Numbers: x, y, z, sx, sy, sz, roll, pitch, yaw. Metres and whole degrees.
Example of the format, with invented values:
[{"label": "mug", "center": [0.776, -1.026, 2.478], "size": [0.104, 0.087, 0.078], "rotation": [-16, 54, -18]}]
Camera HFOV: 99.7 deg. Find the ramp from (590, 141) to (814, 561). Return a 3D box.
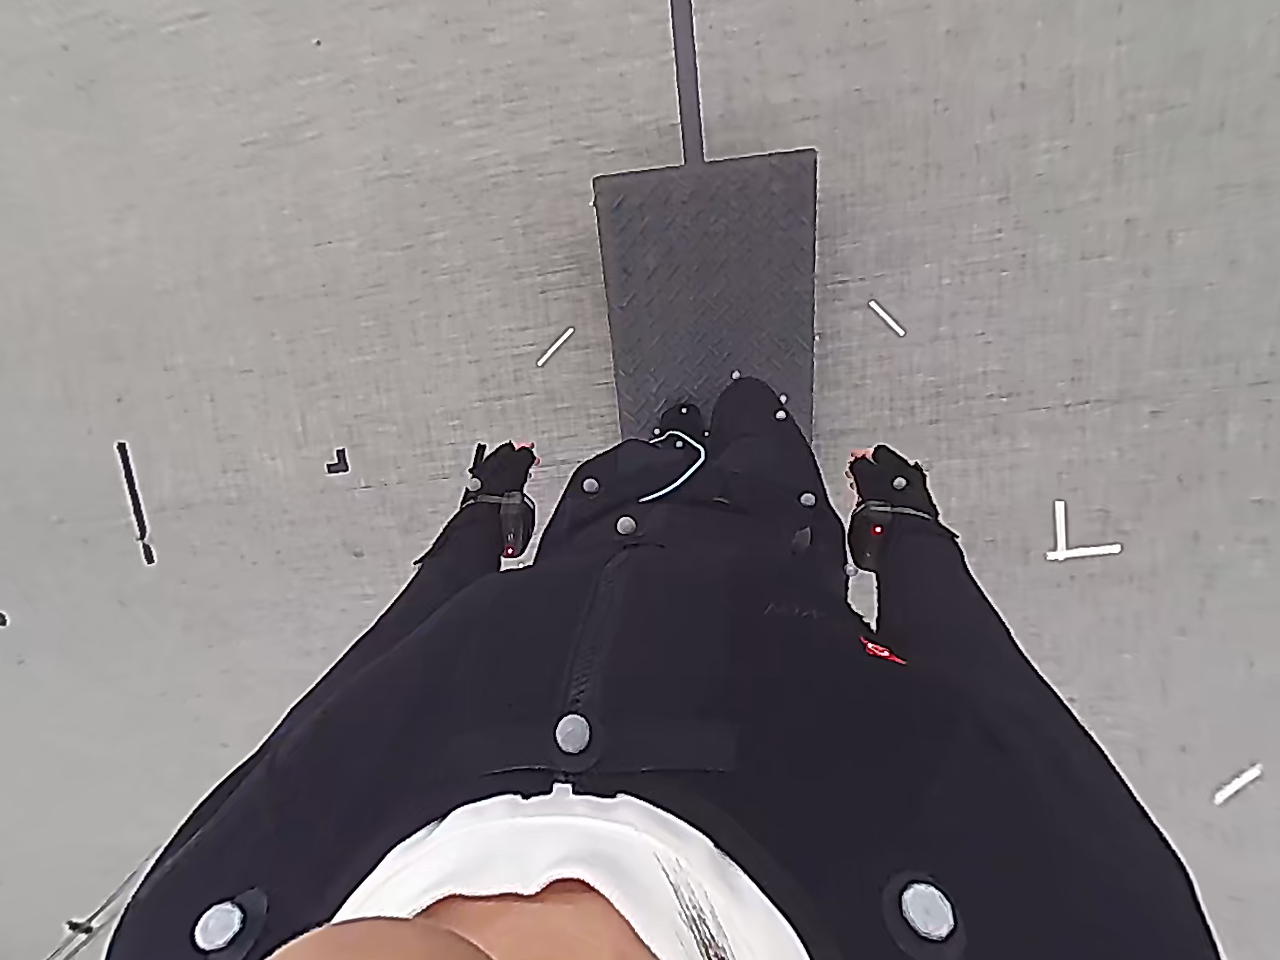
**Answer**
[{"label": "ramp", "center": [0.181, -0.243, 1.352], "size": [0.509, 0.206, 0.991], "rotation": [-5, 101, 7]}]
